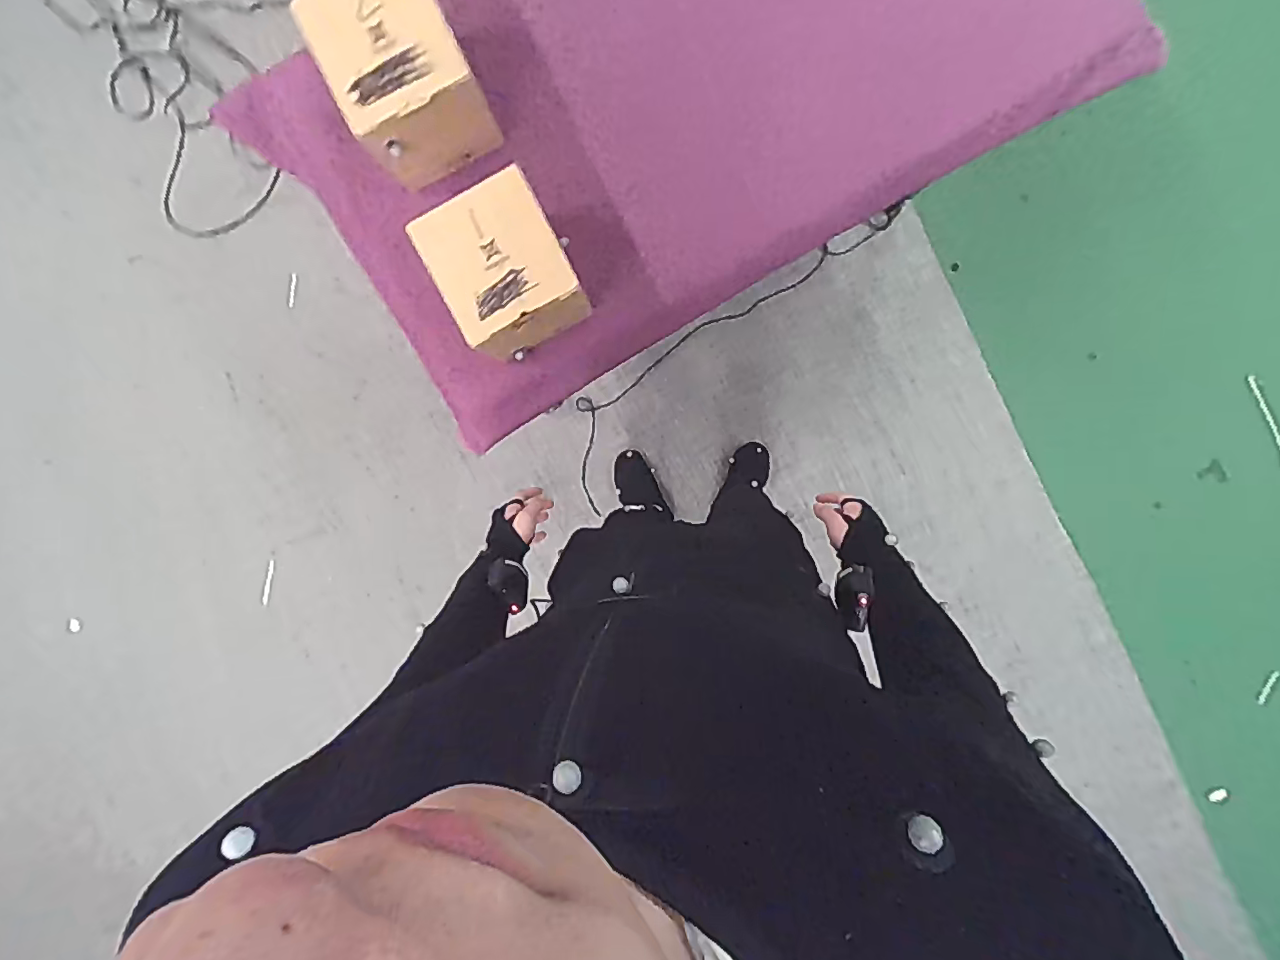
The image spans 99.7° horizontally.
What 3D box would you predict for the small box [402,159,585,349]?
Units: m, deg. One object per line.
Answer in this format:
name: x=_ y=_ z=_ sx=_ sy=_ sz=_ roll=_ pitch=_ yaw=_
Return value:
small box: x=-0.191 y=-0.300 z=0.766 sx=0.168 sy=0.176 sz=0.179 roll=-28 pitch=95 yaw=3
